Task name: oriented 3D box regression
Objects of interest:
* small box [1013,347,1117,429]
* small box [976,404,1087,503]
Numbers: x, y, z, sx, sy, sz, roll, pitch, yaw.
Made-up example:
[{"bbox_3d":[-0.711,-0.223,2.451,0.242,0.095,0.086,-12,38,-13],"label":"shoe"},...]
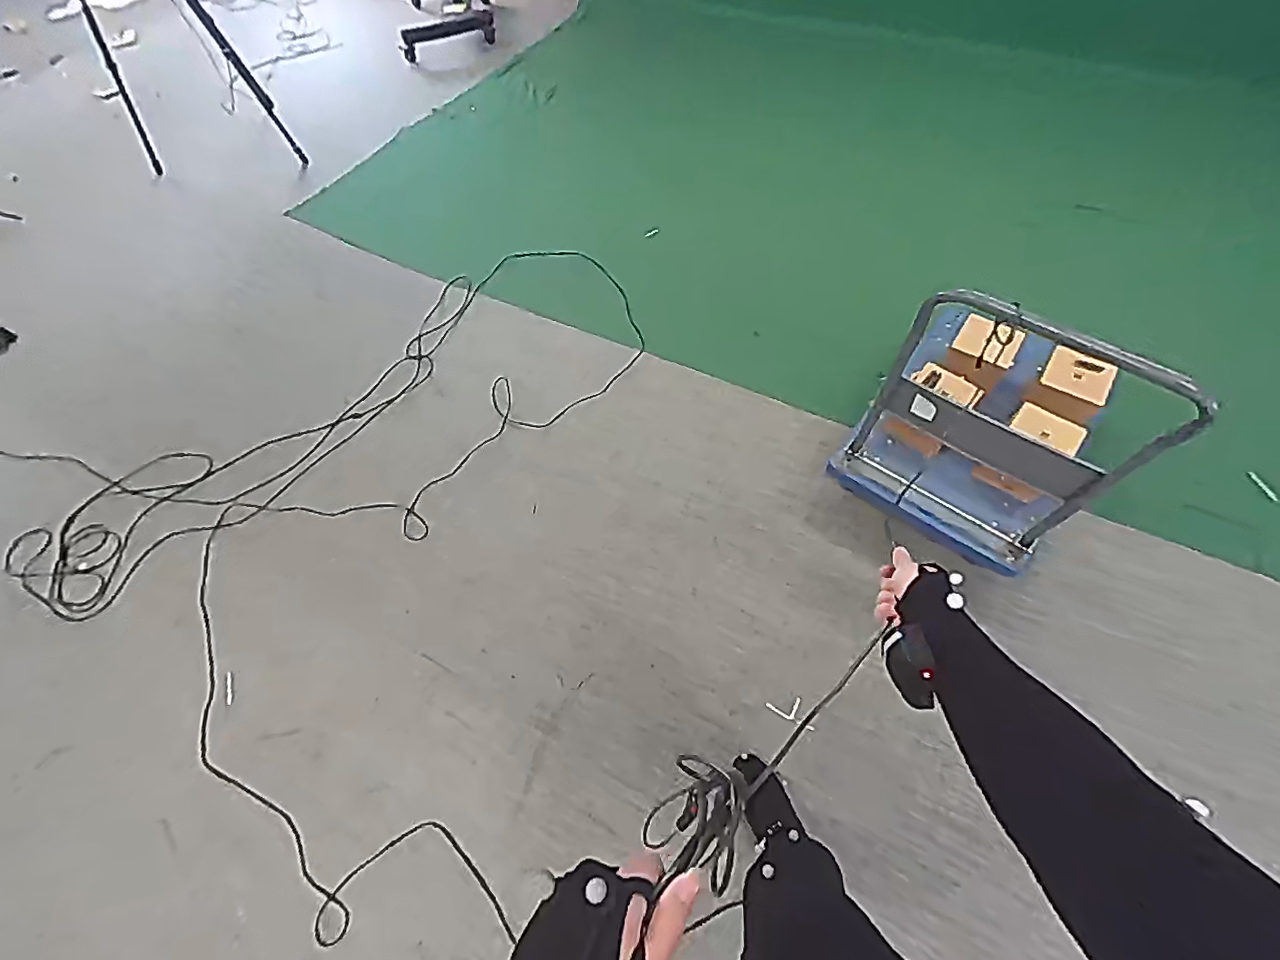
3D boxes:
[{"bbox_3d":[1.254,-0.254,1.605,0.168,0.176,0.179,31,66,21],"label":"small box"},{"bbox_3d":[1.080,-0.071,1.506,0.168,0.176,0.179,36,67,22],"label":"small box"}]
